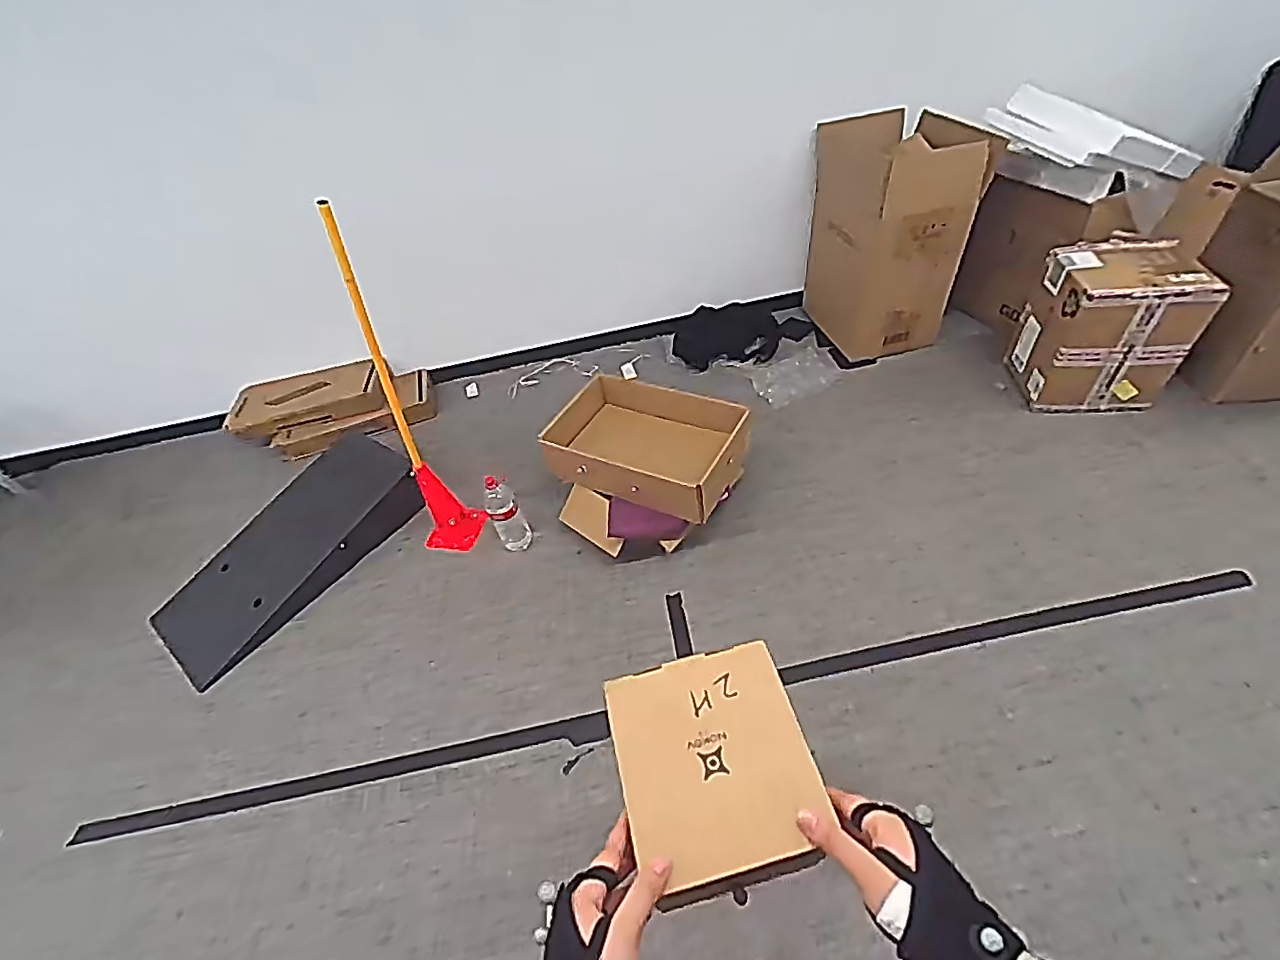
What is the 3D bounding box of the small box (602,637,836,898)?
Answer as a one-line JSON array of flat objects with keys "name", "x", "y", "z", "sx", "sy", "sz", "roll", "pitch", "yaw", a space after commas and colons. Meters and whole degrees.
[{"name": "small box", "x": 0.070, "y": 0.288, "z": 0.535, "sx": 0.168, "sy": 0.176, "sz": 0.179, "roll": -15, "pitch": 48, "yaw": -4}]
